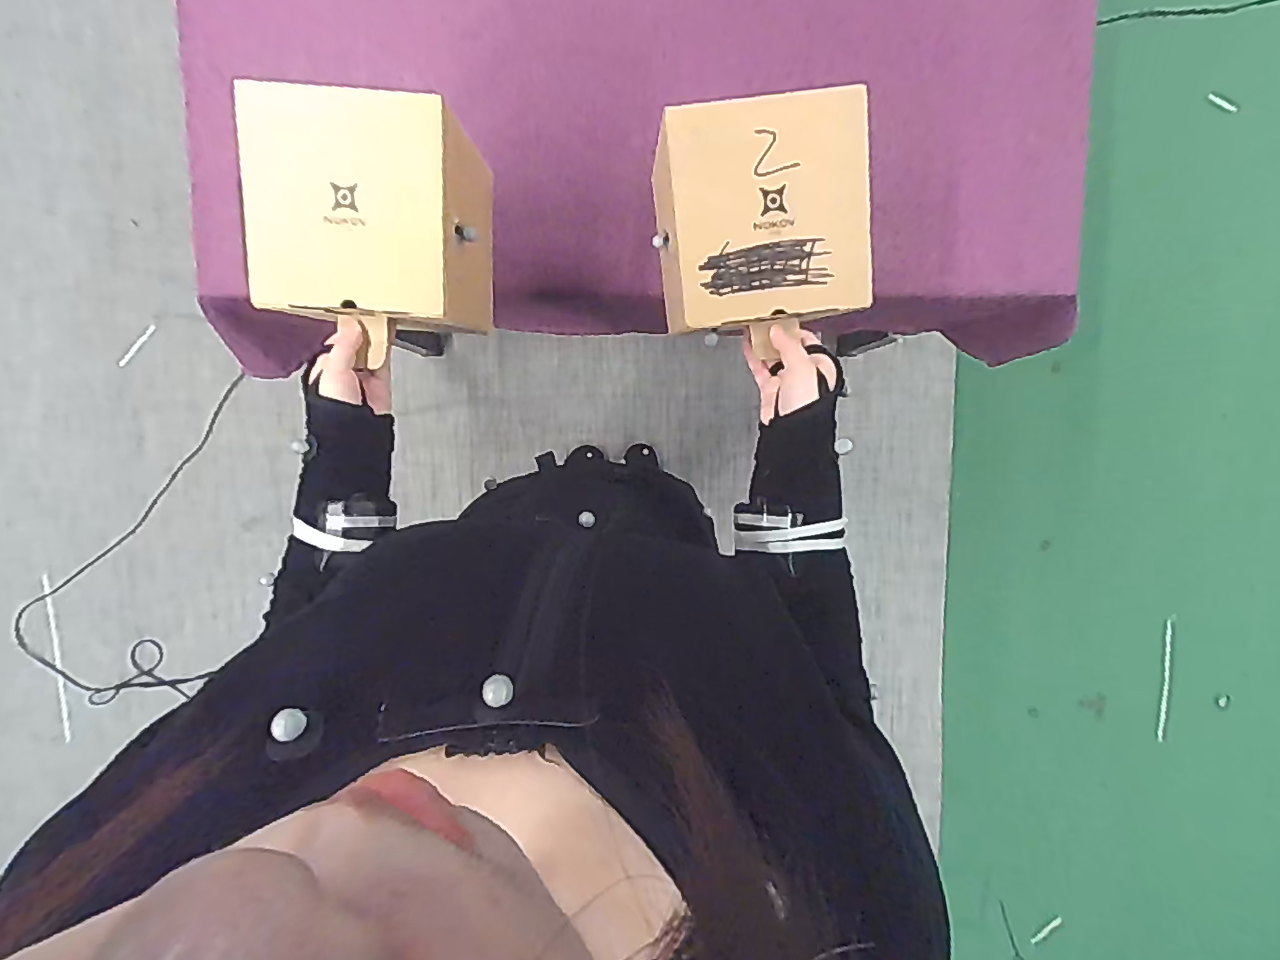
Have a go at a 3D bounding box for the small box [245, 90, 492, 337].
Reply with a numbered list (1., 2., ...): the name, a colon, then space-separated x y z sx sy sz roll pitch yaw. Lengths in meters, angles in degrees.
1. small box: -0.249 -0.243 0.537 0.168 0.176 0.179 3 101 -3
